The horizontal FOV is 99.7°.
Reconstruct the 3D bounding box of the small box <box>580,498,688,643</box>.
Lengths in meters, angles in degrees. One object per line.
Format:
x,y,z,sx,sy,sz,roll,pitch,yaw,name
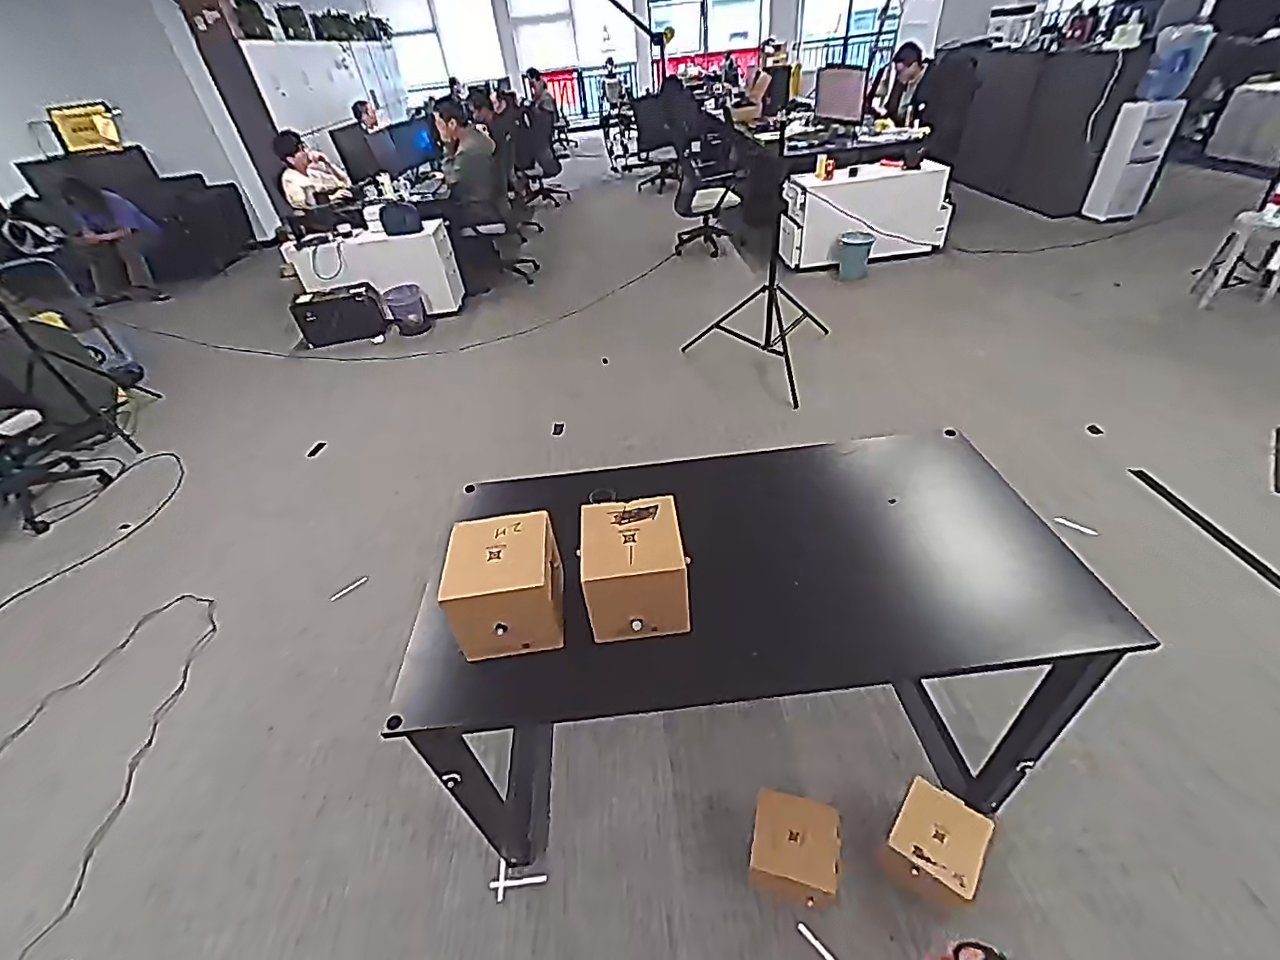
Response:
-0.010,0.157,0.943,0.168,0.176,0.179,-7,40,0,small box

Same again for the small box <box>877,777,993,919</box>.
0.644,0.812,1.197,0.168,0.176,0.179,24,49,33,small box

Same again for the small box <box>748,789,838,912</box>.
0.343,0.837,1.218,0.179,0.176,0.168,6,40,17,small box
